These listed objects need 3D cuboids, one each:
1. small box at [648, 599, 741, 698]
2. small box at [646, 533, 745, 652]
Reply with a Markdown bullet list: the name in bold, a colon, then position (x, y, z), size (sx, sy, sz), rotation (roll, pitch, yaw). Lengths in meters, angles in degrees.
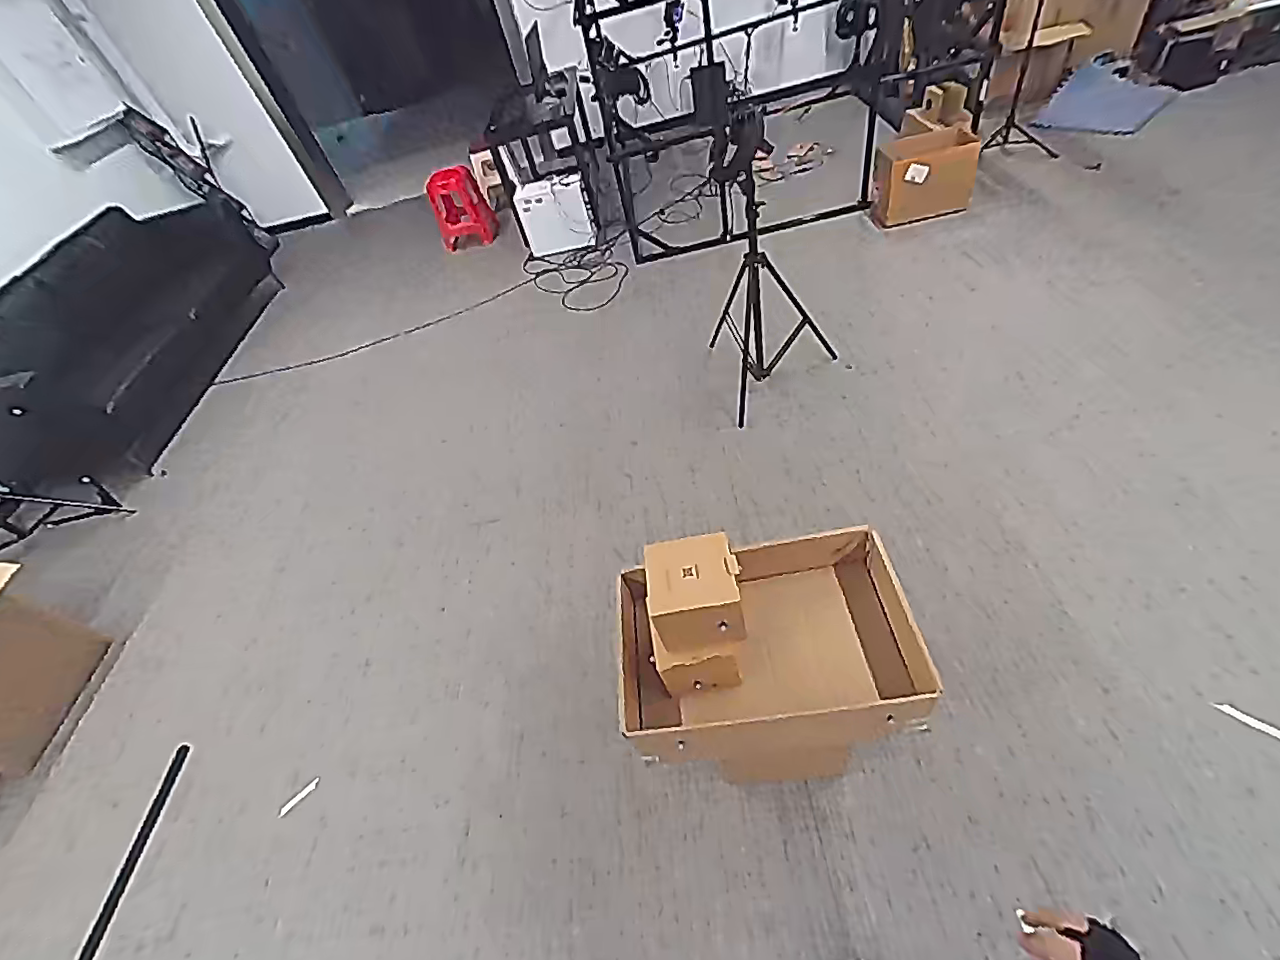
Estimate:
- **small box**: position (0.123, 0.362, 1.215), size (0.168, 0.176, 0.179), rotation (-15, 47, 4)
- **small box**: position (0.116, 0.233, 1.108), size (0.179, 0.176, 0.168), rotation (-11, 47, 7)
